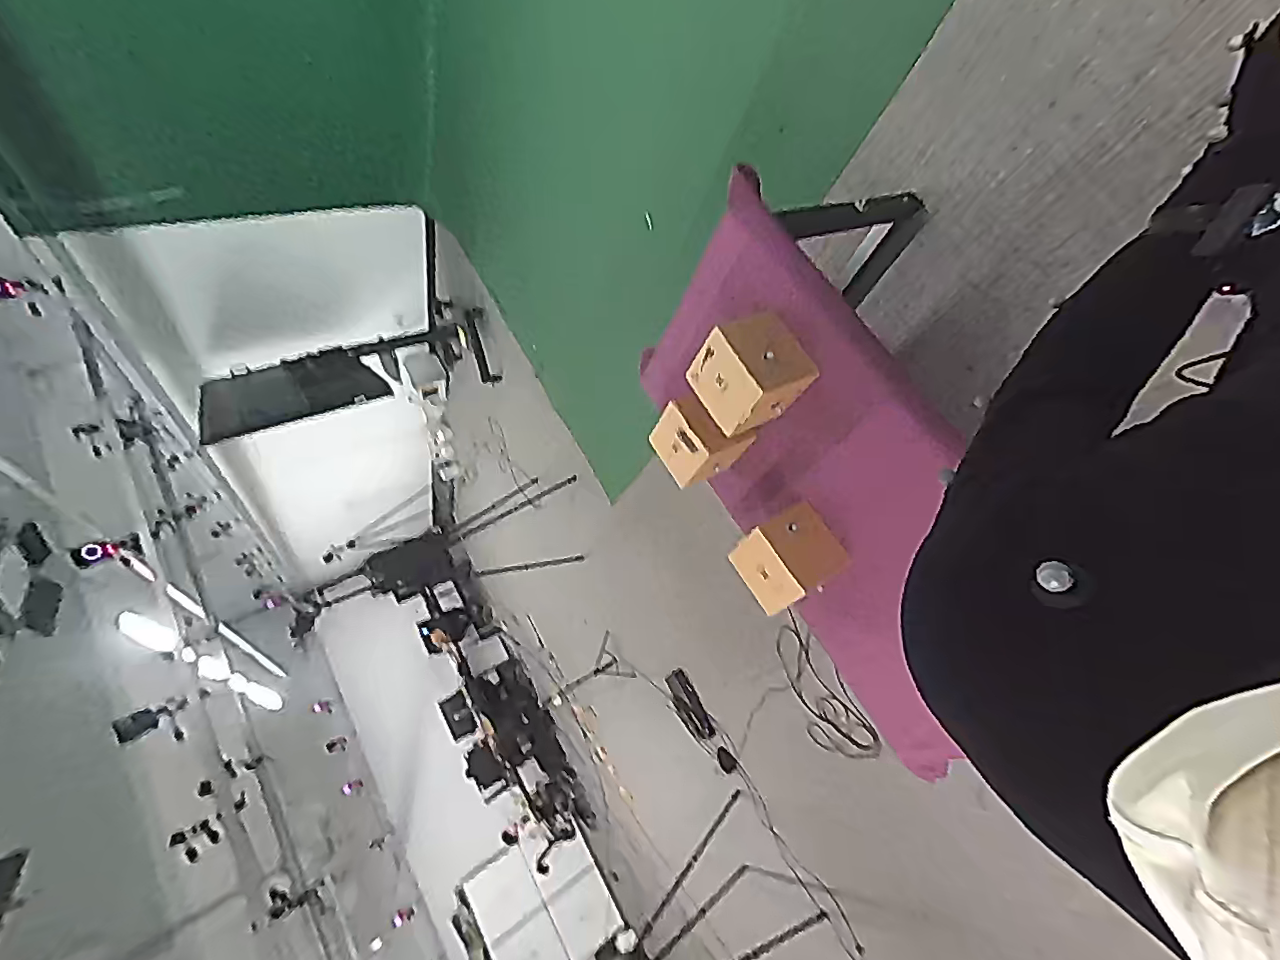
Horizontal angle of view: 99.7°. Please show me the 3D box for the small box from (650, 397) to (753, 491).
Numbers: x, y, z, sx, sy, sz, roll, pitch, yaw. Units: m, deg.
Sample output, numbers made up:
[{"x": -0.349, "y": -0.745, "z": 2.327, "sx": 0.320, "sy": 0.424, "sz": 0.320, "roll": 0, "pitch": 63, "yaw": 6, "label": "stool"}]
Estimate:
[{"x": 0.158, "y": -0.104, "z": 1.359, "sx": 0.168, "sy": 0.176, "sz": 0.179, "roll": 58, "pitch": 150, "yaw": 16, "label": "small box"}]

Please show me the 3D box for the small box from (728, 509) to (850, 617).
[{"x": 0.344, "y": 0.186, "z": 1.257, "sx": 0.179, "sy": 0.176, "sz": 0.168, "roll": 56, "pitch": 149, "yaw": 18, "label": "small box"}]

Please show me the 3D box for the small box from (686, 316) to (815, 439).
[{"x": 0.235, "y": -0.221, "z": 1.151, "sx": 0.179, "sy": 0.176, "sz": 0.168, "roll": 58, "pitch": 150, "yaw": 14, "label": "small box"}]
